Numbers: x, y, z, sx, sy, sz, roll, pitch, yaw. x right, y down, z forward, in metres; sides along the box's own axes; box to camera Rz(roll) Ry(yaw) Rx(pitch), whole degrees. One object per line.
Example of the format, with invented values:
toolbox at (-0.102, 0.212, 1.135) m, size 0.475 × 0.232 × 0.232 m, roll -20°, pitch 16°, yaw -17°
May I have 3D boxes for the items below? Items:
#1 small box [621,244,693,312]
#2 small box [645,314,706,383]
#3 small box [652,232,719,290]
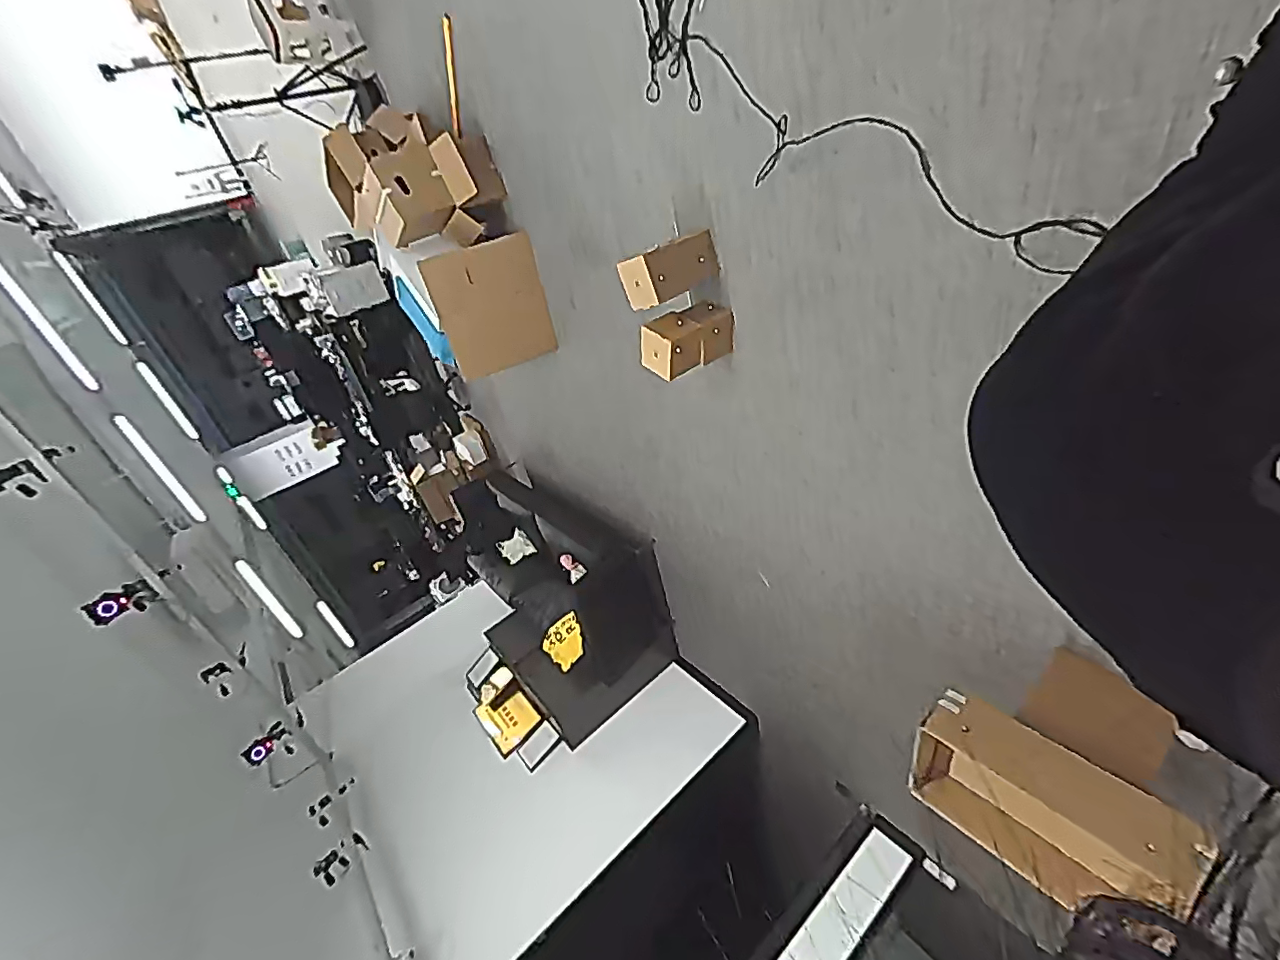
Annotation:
small box at (0.068, -0.730, 1.959) m, size 0.168 × 0.176 × 0.179 m, roll 12°, pitch 130°, yaw 54°
small box at (0.137, -0.512, 2.087) m, size 0.168 × 0.176 × 0.179 m, roll 40°, pitch 148°, yaw 33°
small box at (0.181, -0.819, 2.036) m, size 0.179 × 0.176 × 0.168 m, roll 20°, pitch 135°, yaw 52°
